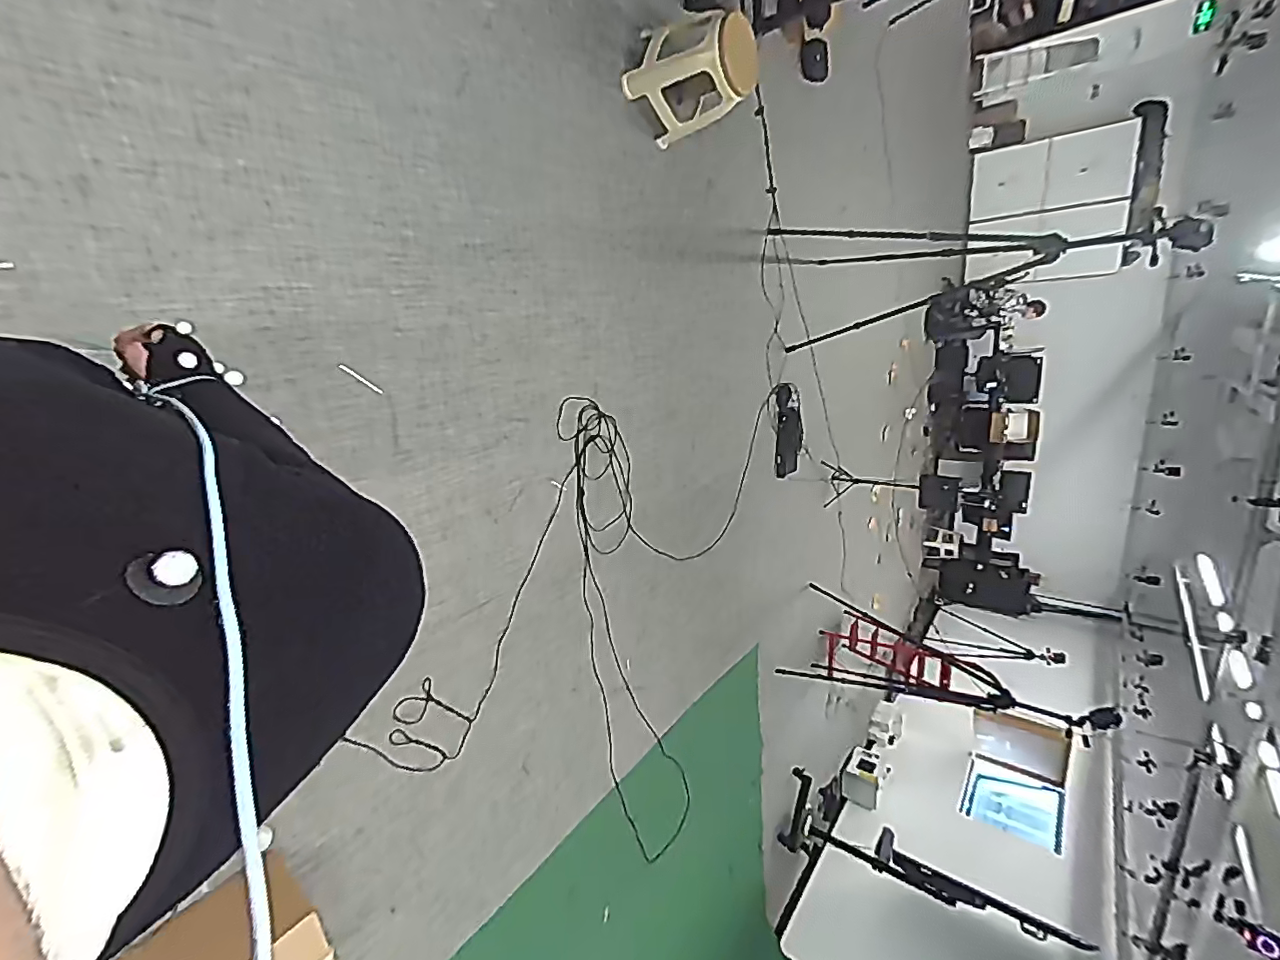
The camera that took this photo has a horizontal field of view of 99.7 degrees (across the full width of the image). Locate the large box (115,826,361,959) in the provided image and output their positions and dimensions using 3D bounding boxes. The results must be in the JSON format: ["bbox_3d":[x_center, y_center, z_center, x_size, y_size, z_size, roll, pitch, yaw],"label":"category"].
[{"bbox_3d":[-1.026,1.233,1.406,0.408,0.320,0.320,-26,115,-45],"label":"large box"}]
